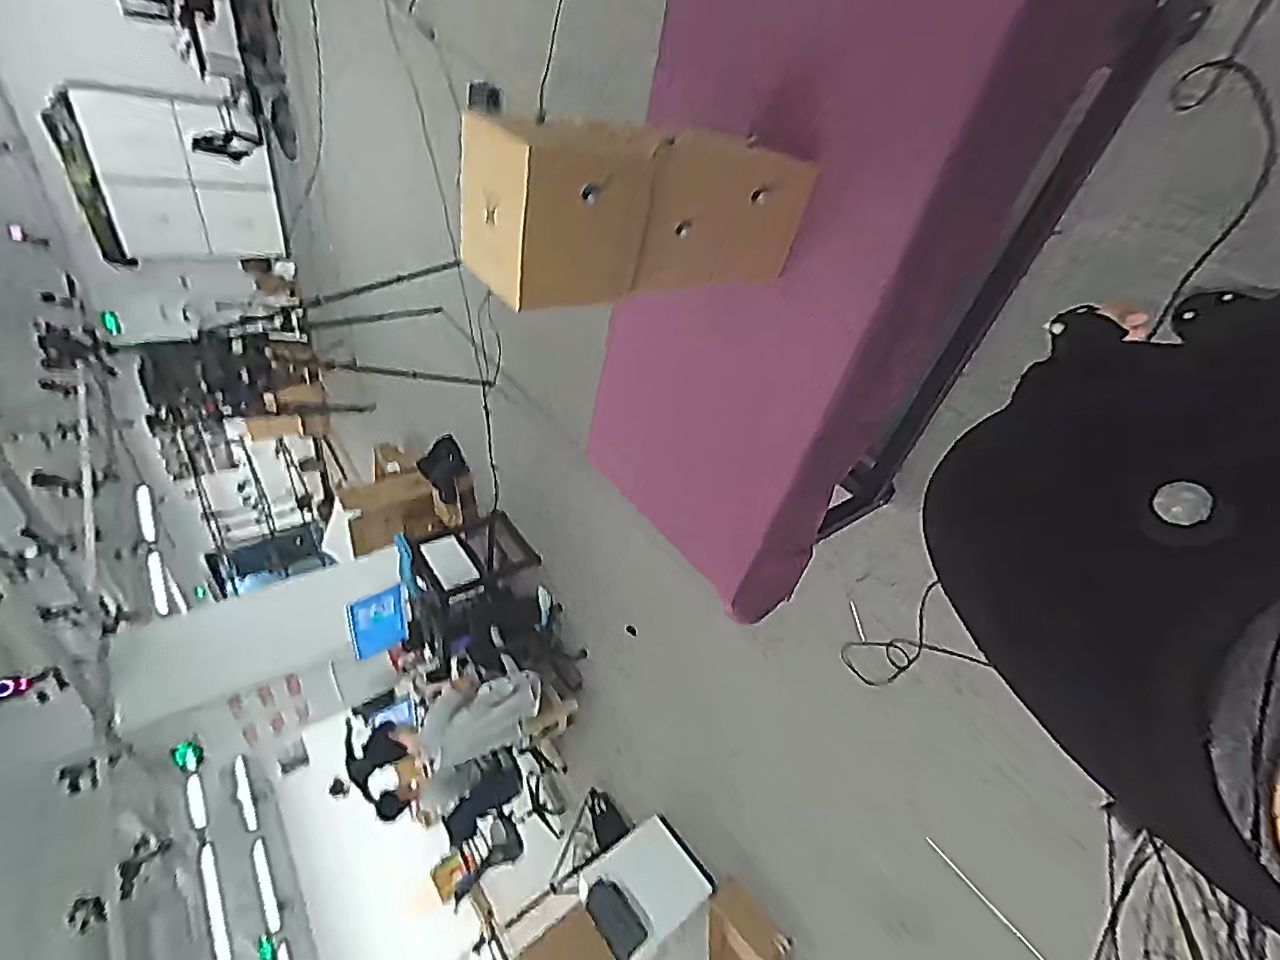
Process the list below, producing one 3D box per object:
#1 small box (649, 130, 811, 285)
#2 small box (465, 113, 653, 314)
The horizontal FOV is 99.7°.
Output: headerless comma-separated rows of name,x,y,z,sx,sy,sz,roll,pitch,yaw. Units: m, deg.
small box,0.145,-0.433,0.868,0.168,0.176,0.179,46,137,32
small box,-0.104,-0.331,0.680,0.168,0.176,0.179,46,138,32
